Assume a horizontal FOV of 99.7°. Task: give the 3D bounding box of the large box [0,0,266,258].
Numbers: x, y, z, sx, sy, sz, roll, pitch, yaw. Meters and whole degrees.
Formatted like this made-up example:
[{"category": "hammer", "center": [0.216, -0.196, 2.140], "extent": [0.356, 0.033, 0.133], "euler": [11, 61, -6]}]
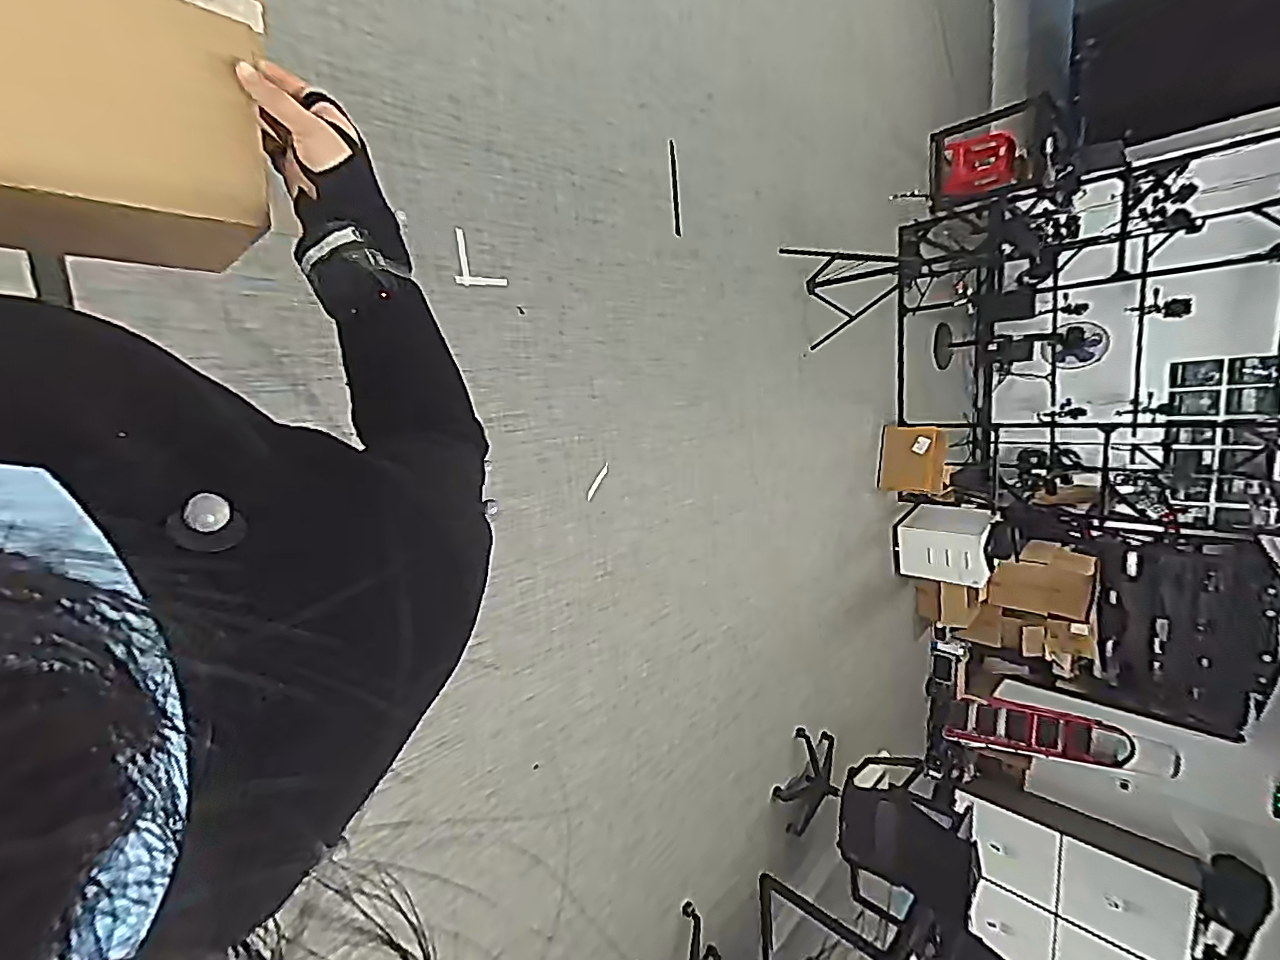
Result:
[{"category": "large box", "center": [-0.556, -0.368, 0.401], "extent": [0.408, 0.320, 0.320], "euler": [-9, 104, -42]}]
